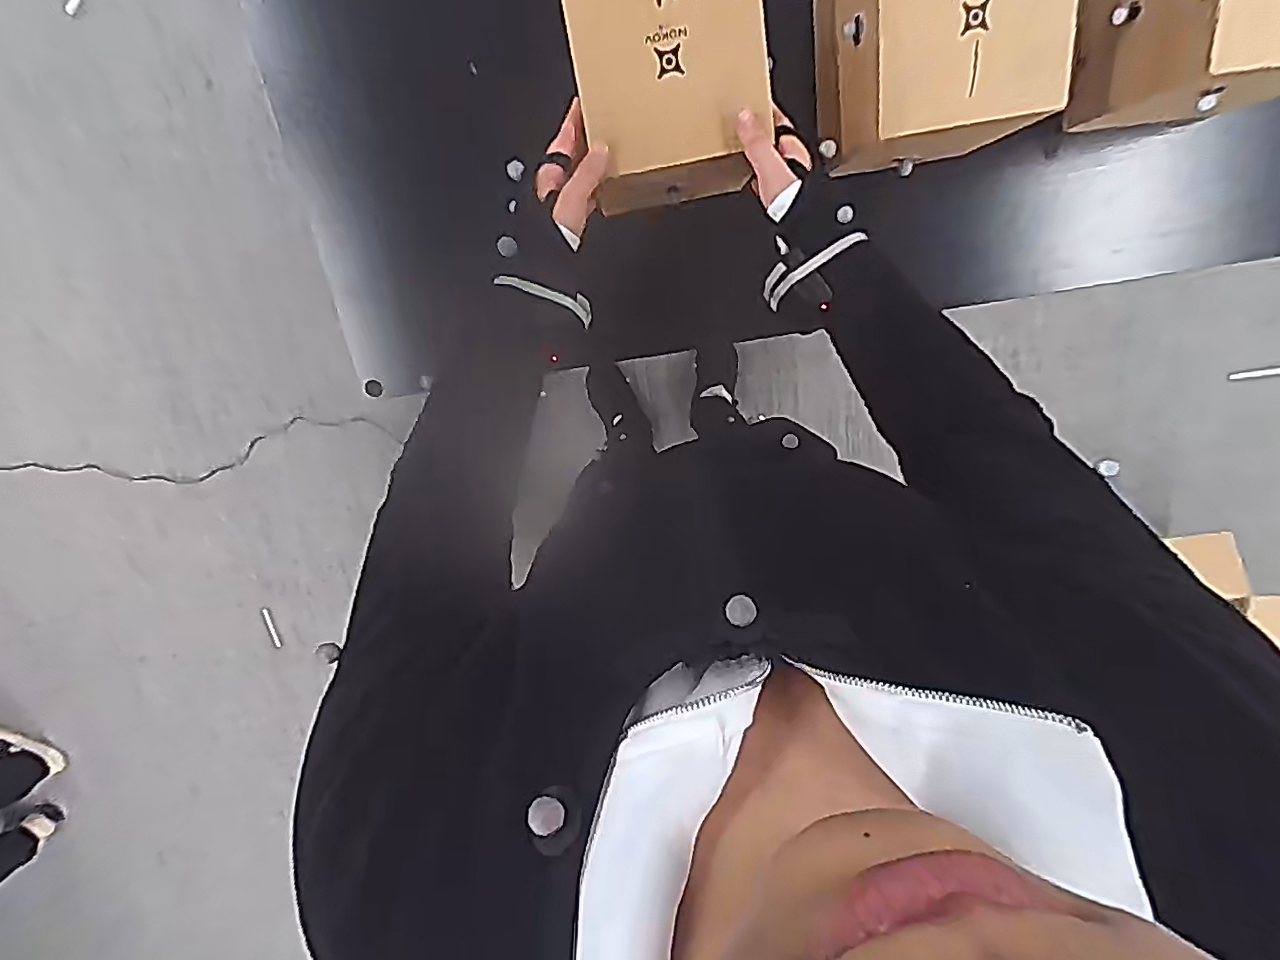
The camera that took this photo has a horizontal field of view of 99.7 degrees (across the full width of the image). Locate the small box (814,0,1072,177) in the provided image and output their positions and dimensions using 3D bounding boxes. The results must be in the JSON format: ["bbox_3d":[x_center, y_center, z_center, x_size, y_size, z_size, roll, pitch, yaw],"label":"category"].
[{"bbox_3d":[0.277,-0.422,0.528,0.168,0.176,0.179,-8,109,3],"label":"small box"}]

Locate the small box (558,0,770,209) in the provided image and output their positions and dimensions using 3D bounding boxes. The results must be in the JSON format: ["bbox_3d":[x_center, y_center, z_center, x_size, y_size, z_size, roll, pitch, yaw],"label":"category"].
[{"bbox_3d":[0.022,-0.383,0.533,0.168,0.176,0.179,-10,105,3],"label":"small box"}]

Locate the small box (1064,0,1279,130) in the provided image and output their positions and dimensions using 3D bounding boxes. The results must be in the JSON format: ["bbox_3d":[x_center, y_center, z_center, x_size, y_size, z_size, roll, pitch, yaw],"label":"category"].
[{"bbox_3d":[0.556,-0.458,0.516,0.179,0.176,0.168,-5,108,3],"label":"small box"}]
